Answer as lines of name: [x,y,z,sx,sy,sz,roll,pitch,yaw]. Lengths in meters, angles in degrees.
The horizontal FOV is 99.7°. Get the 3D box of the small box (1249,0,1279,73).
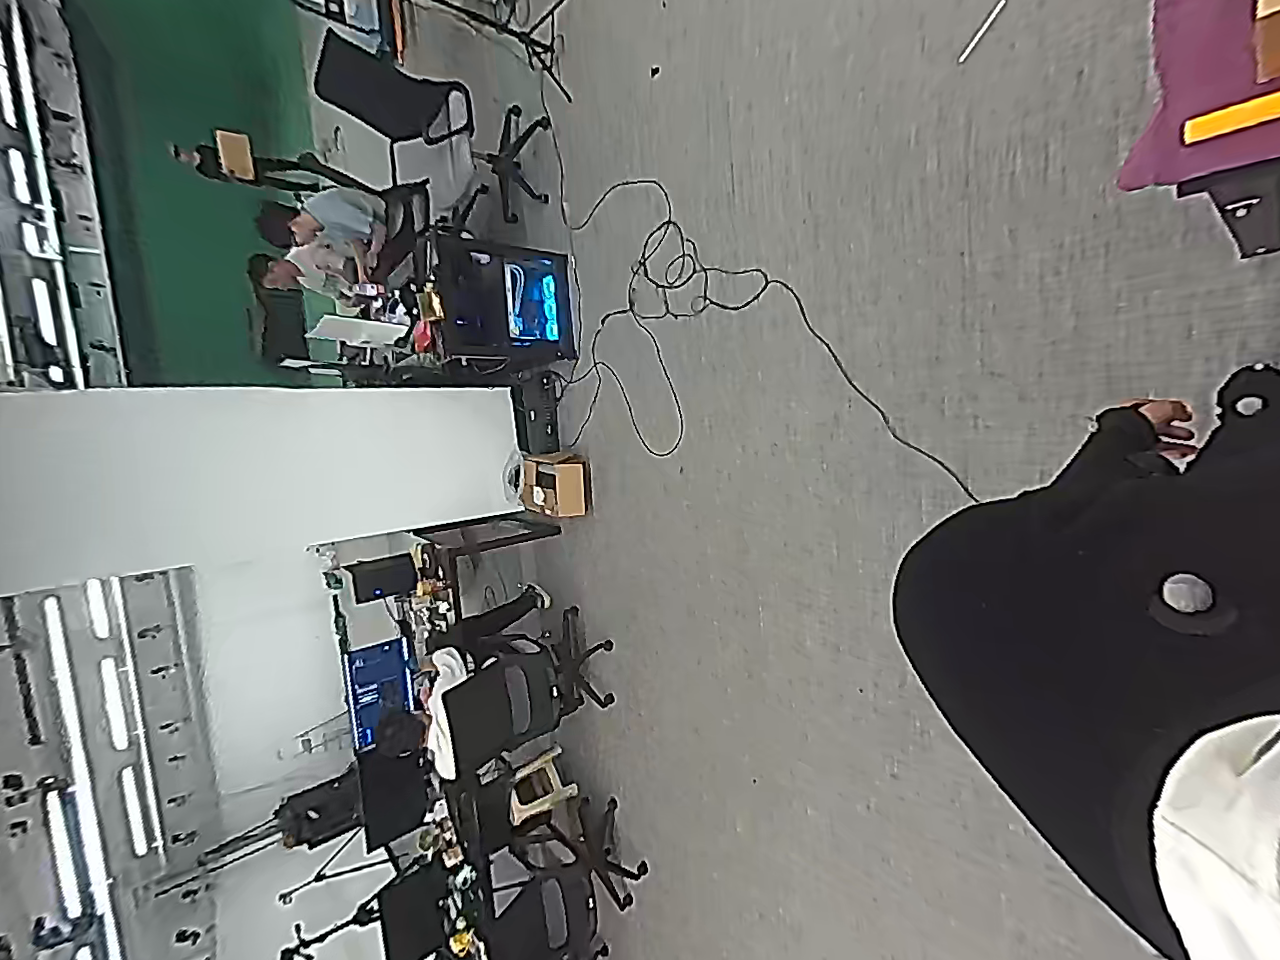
small box: [0.666,-0.509,0.470,0.179,0.176,0.168,3,98,49]
